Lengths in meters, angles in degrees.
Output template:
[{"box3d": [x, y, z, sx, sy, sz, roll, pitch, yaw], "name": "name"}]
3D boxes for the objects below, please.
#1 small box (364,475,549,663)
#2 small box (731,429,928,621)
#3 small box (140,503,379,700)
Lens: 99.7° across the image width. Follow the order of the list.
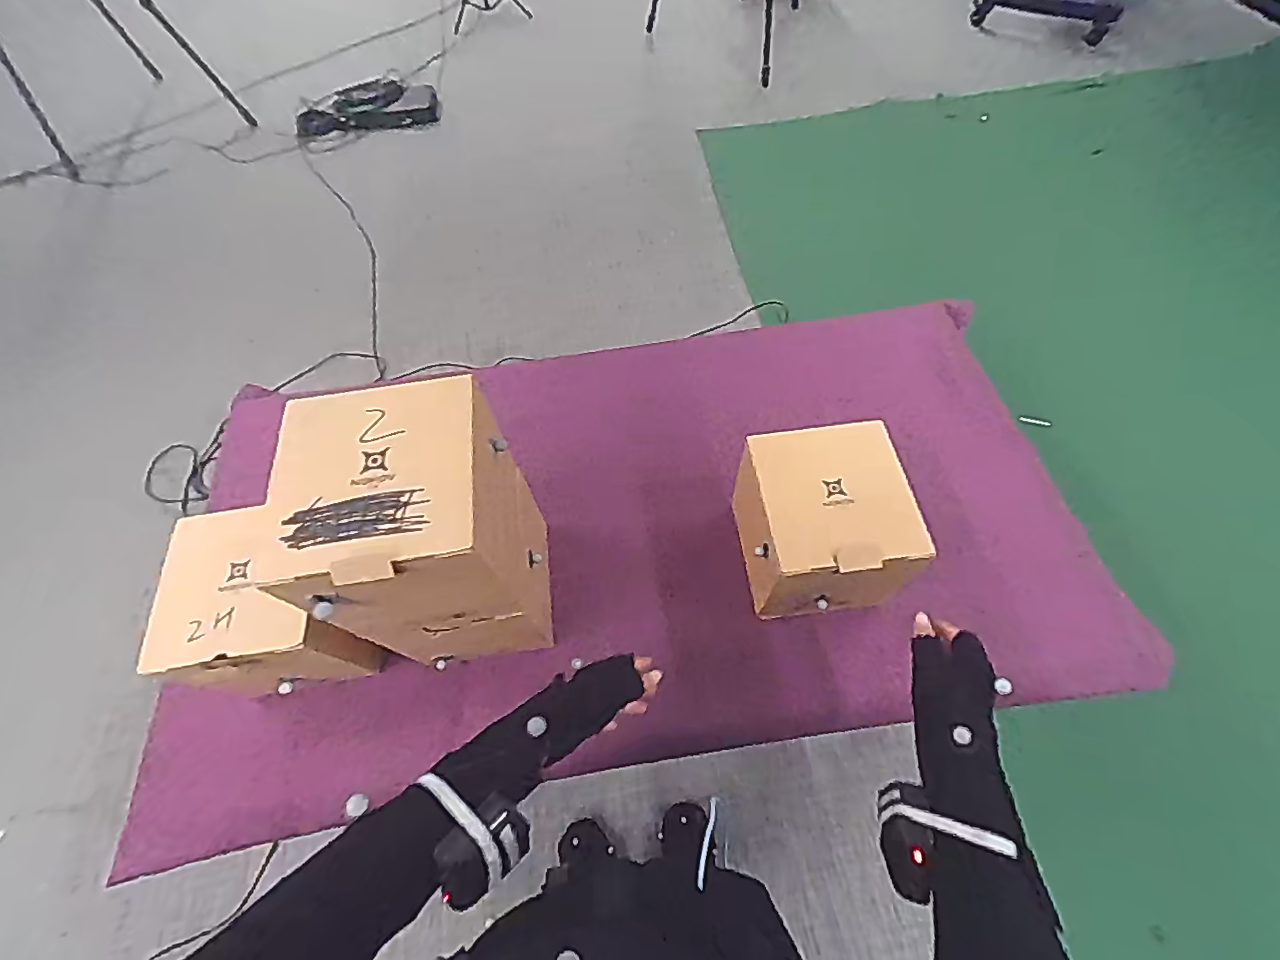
[{"box3d": [-0.209, 0.118, 0.662, 0.168, 0.176, 0.179, -7, 60, -2], "name": "small box"}, {"box3d": [0.216, 0.061, 0.676, 0.168, 0.176, 0.179, -7, 60, -1], "name": "small box"}, {"box3d": [-0.427, 0.151, 0.651, 0.168, 0.176, 0.179, -9, 61, -2], "name": "small box"}]
